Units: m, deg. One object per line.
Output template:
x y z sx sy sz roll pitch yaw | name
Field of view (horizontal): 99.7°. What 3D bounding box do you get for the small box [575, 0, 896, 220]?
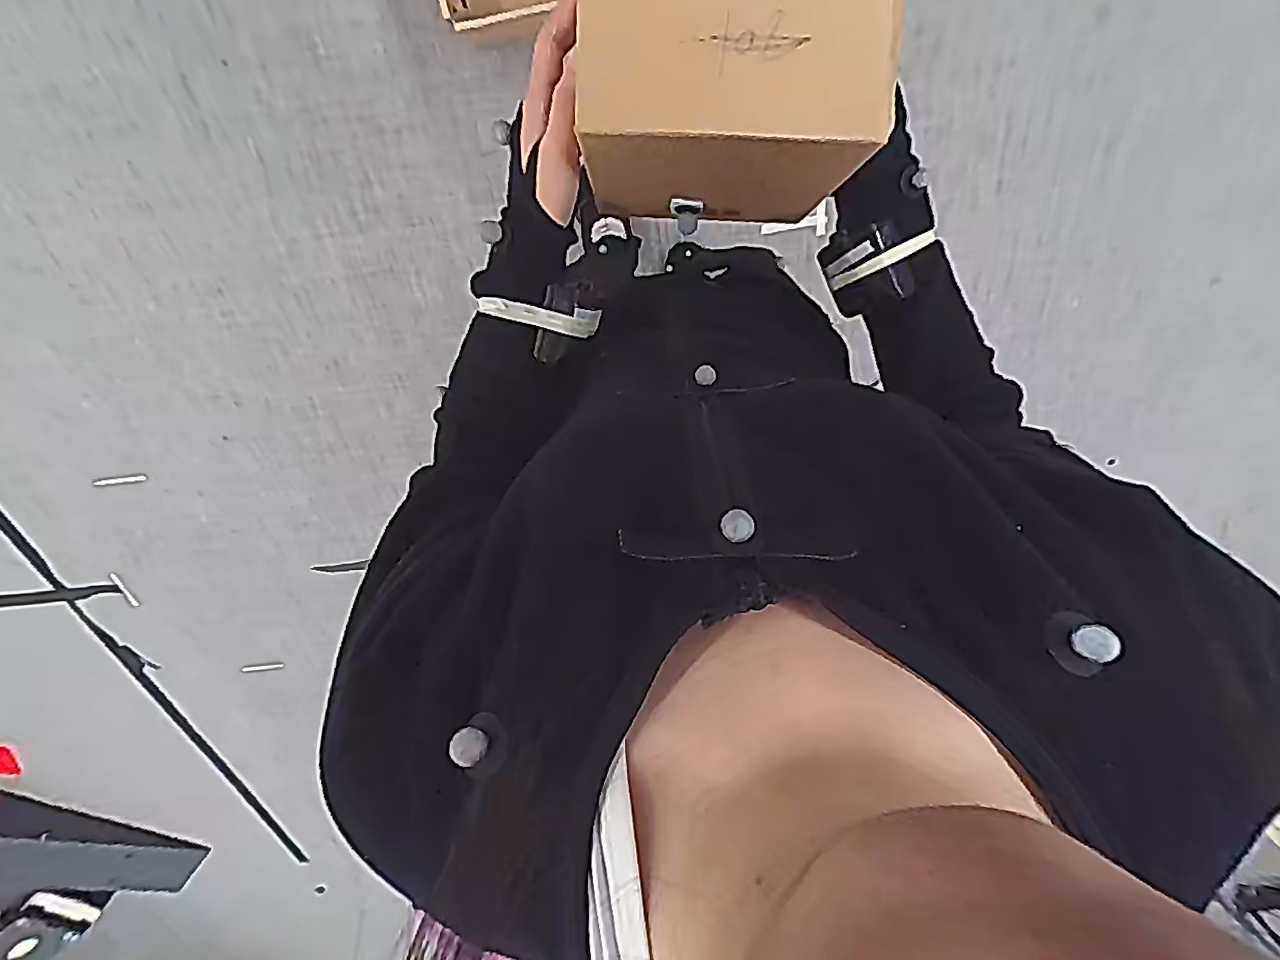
0.049 -0.285 0.348 0.168 0.176 0.179 1 102 0 | small box
